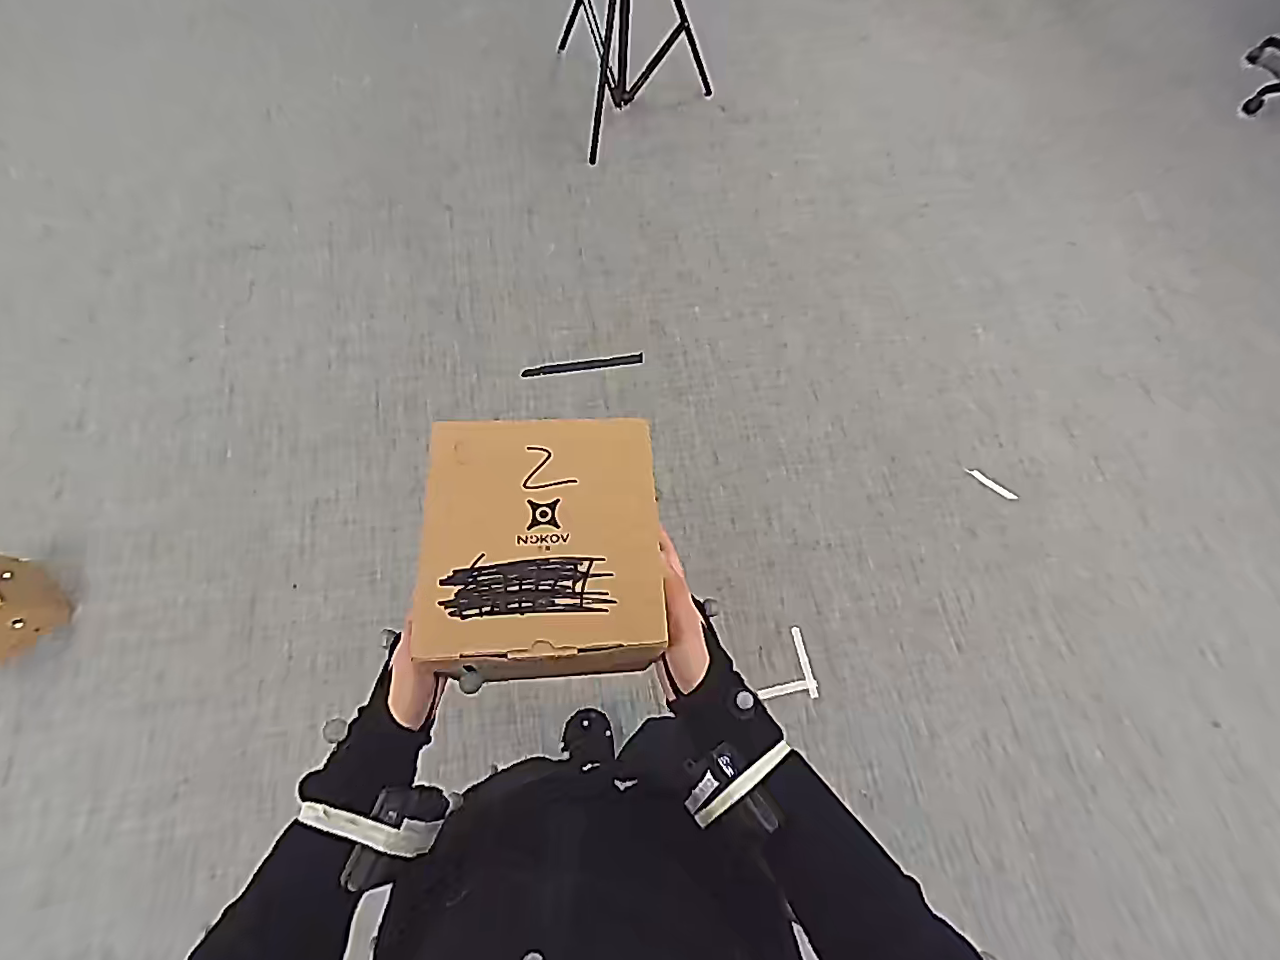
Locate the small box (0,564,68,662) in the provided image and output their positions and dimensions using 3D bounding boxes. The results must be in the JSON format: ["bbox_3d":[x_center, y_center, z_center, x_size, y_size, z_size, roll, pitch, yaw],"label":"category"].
[{"bbox_3d":[-1.464,0.296,1.208,0.179,0.176,0.168,41,71,12],"label":"small box"}]
